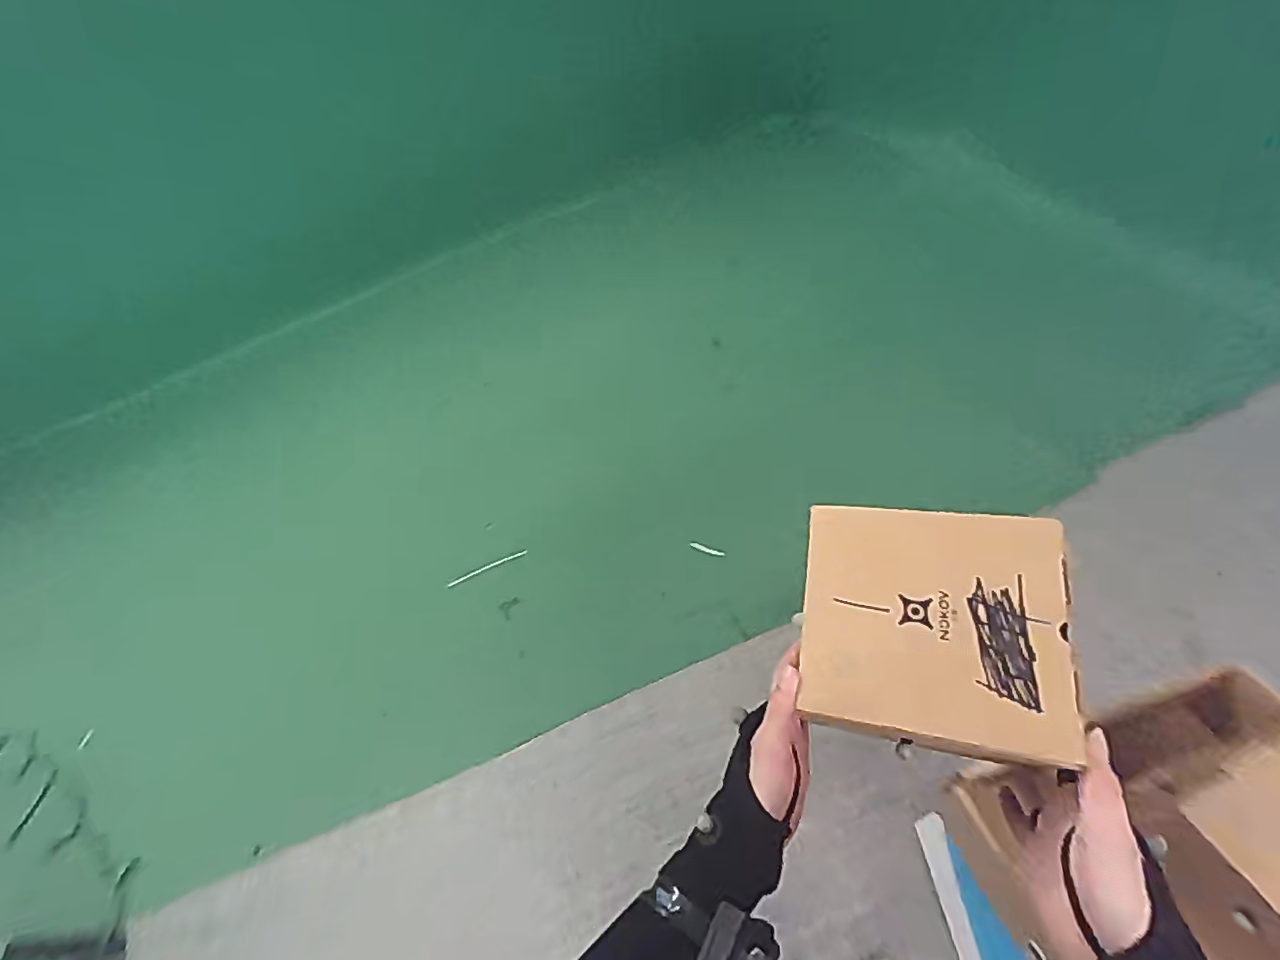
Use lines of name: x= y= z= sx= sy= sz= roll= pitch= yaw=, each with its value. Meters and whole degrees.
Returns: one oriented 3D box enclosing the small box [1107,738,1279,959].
small box: x=0.587 y=0.356 z=0.483 sx=0.168 sy=0.176 sz=0.179 roll=-26 pitch=52 yaw=-4
